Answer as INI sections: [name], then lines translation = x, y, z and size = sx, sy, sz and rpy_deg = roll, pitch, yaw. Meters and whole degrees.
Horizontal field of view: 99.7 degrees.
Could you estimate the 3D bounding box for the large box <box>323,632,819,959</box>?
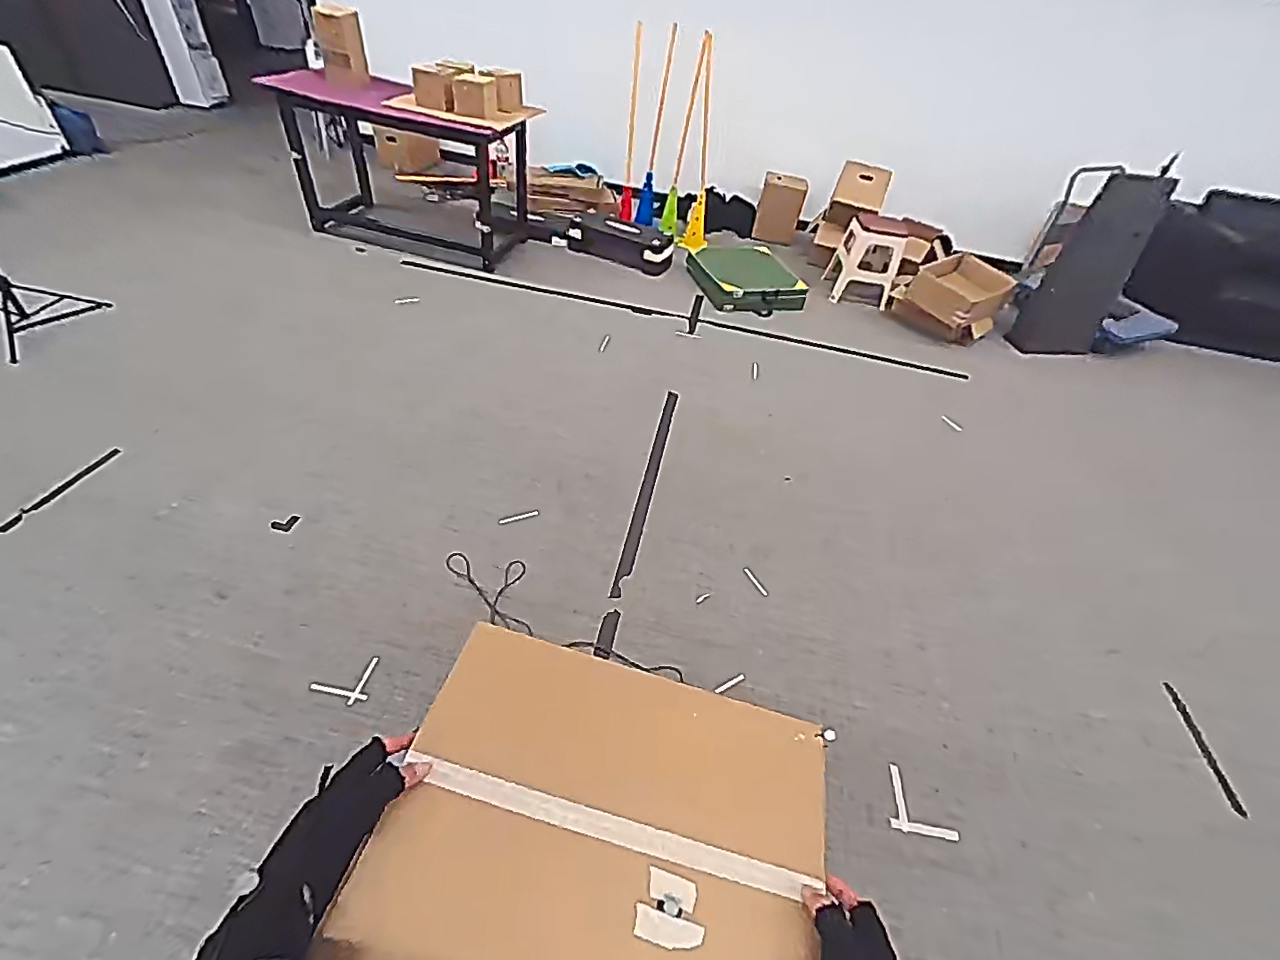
[large box]
translation = -0.050, 0.431, 0.616
size = 0.408, 0.320, 0.320
rpy_deg = 17, 46, 4
